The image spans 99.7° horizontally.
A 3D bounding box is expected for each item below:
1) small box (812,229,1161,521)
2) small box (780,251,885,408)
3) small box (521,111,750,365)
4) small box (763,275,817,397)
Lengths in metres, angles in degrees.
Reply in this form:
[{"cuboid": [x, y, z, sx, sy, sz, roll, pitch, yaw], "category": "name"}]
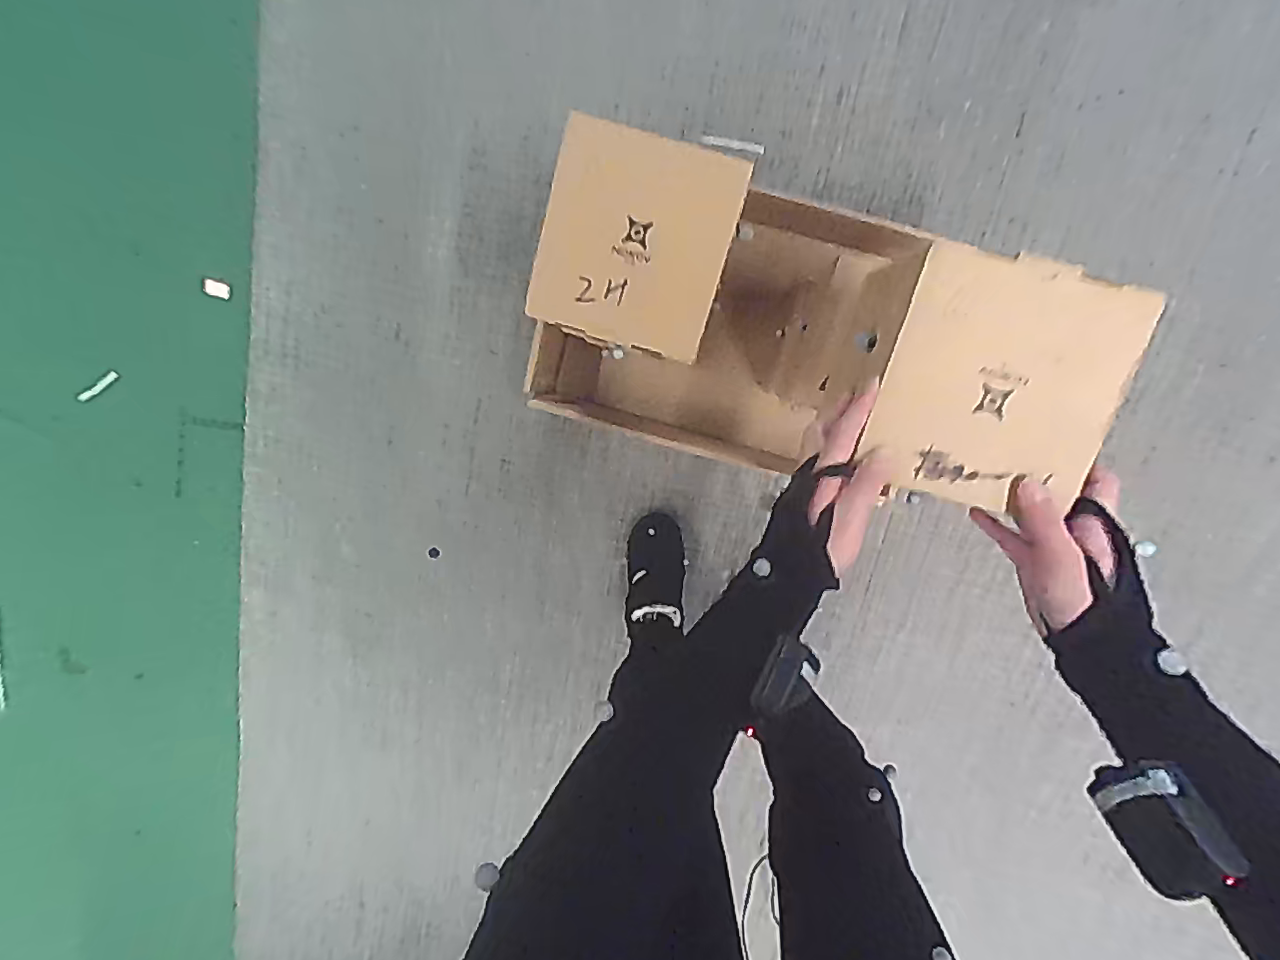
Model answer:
[{"cuboid": [0.264, -0.088, 0.467, 0.168, 0.176, 0.179, 16, 104, 3], "category": "small box"}, {"cuboid": [0.288, -0.169, 0.697, 0.168, 0.176, 0.179, 17, 103, 4], "category": "small box"}, {"cuboid": [-0.001, -0.225, 0.551, 0.168, 0.176, 0.179, 17, 103, 2], "category": "small box"}, {"cuboid": [0.301, -0.205, 0.857, 0.168, 0.176, 0.179, 17, 105, 4], "category": "small box"}]
